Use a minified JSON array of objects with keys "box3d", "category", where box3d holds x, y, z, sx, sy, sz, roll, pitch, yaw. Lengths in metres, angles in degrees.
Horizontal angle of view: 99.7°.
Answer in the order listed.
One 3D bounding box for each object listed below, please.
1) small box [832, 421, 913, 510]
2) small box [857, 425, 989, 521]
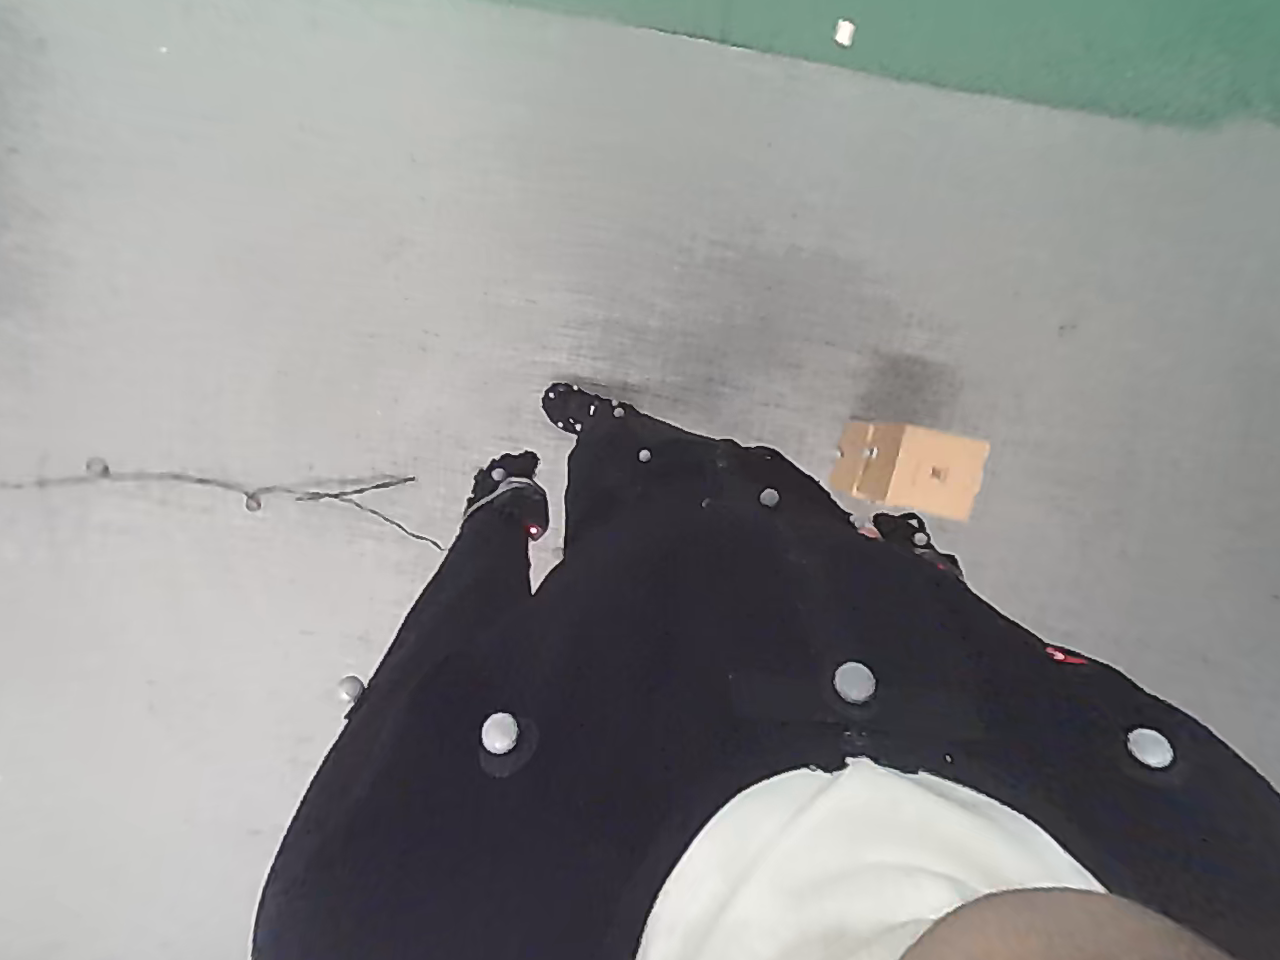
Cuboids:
[{"box3d":[0.590,-0.041,1.327,0.168,0.176,0.179,13,98,0],"category":"small box"},{"box3d":[0.598,-0.023,1.165,0.179,0.176,0.168,12,96,1],"category":"small box"}]
